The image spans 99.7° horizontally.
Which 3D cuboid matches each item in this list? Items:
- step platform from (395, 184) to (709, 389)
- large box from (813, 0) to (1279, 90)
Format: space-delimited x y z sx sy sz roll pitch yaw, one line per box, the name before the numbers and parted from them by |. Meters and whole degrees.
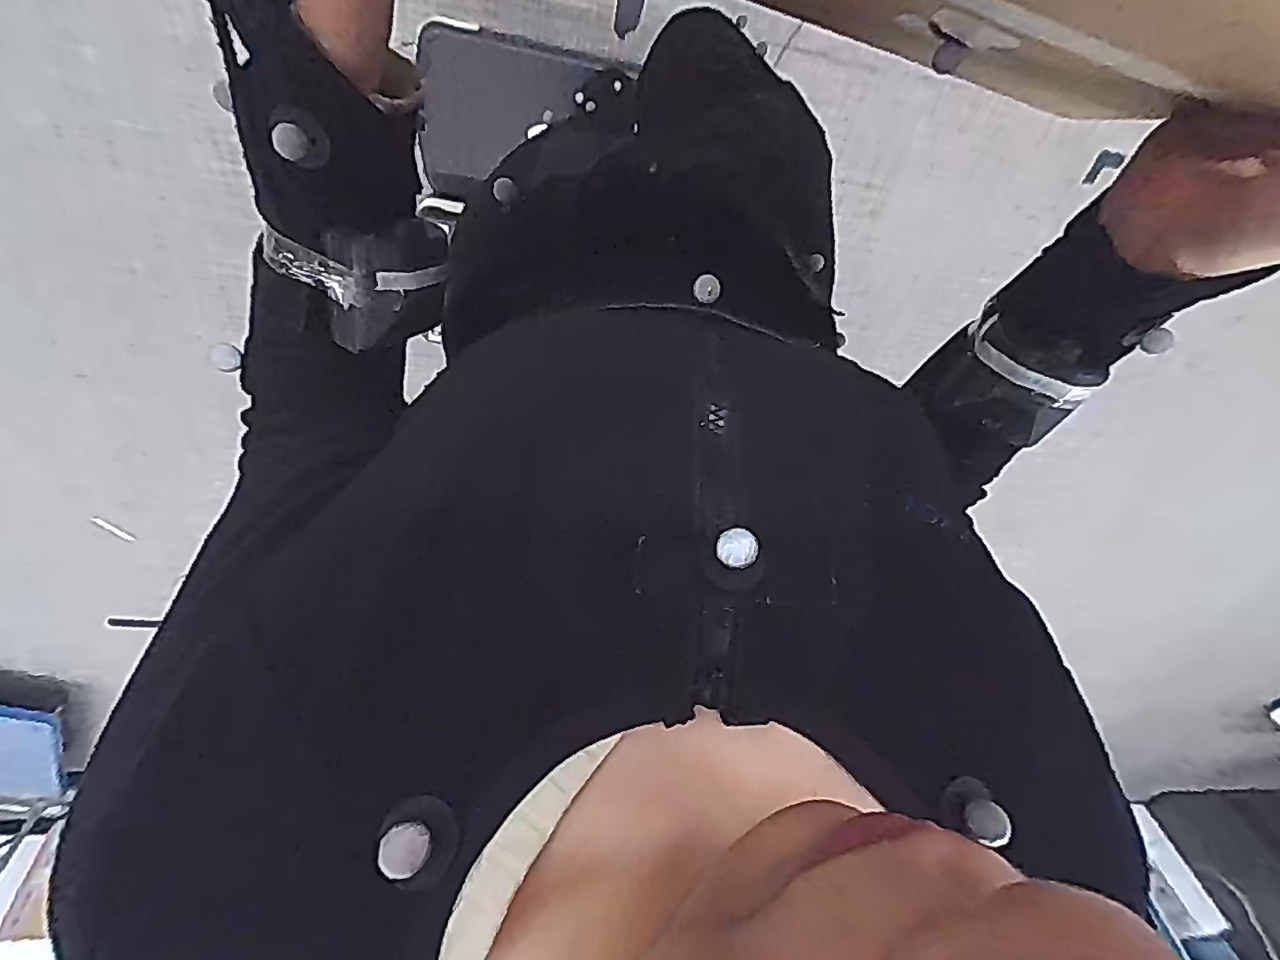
step platform | -0.190 -0.428 1.245 0.684 0.204 0.286 11 128 -13
large box | 0.104 -0.317 0.099 0.408 0.320 0.320 10 125 -8
